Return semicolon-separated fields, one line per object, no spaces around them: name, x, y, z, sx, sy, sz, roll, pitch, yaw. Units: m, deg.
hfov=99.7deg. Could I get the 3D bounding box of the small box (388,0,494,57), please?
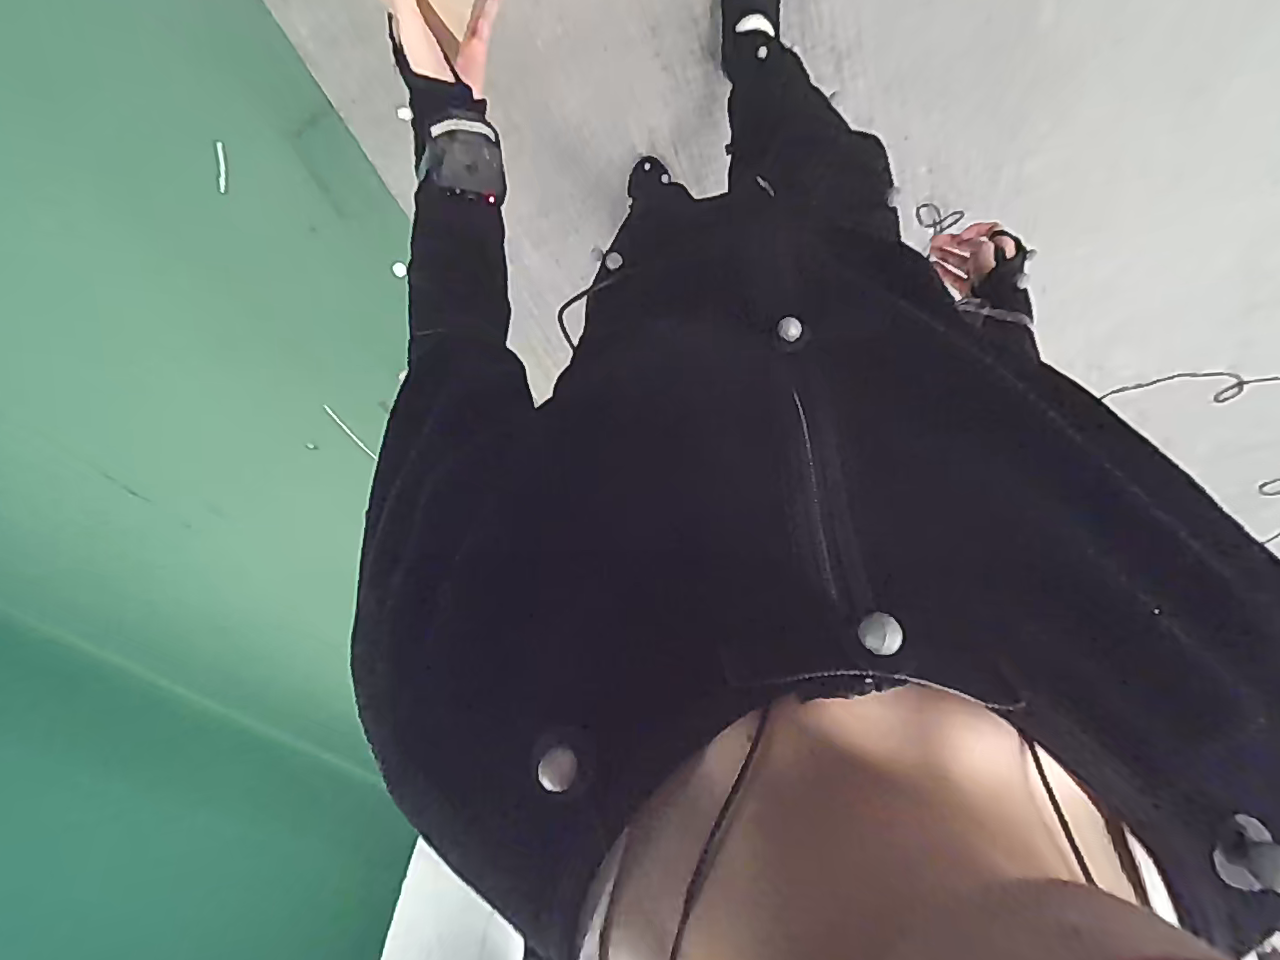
small box;-0.147;-0.475;0.380;0.168;0.176;0.179;28;162;-27
